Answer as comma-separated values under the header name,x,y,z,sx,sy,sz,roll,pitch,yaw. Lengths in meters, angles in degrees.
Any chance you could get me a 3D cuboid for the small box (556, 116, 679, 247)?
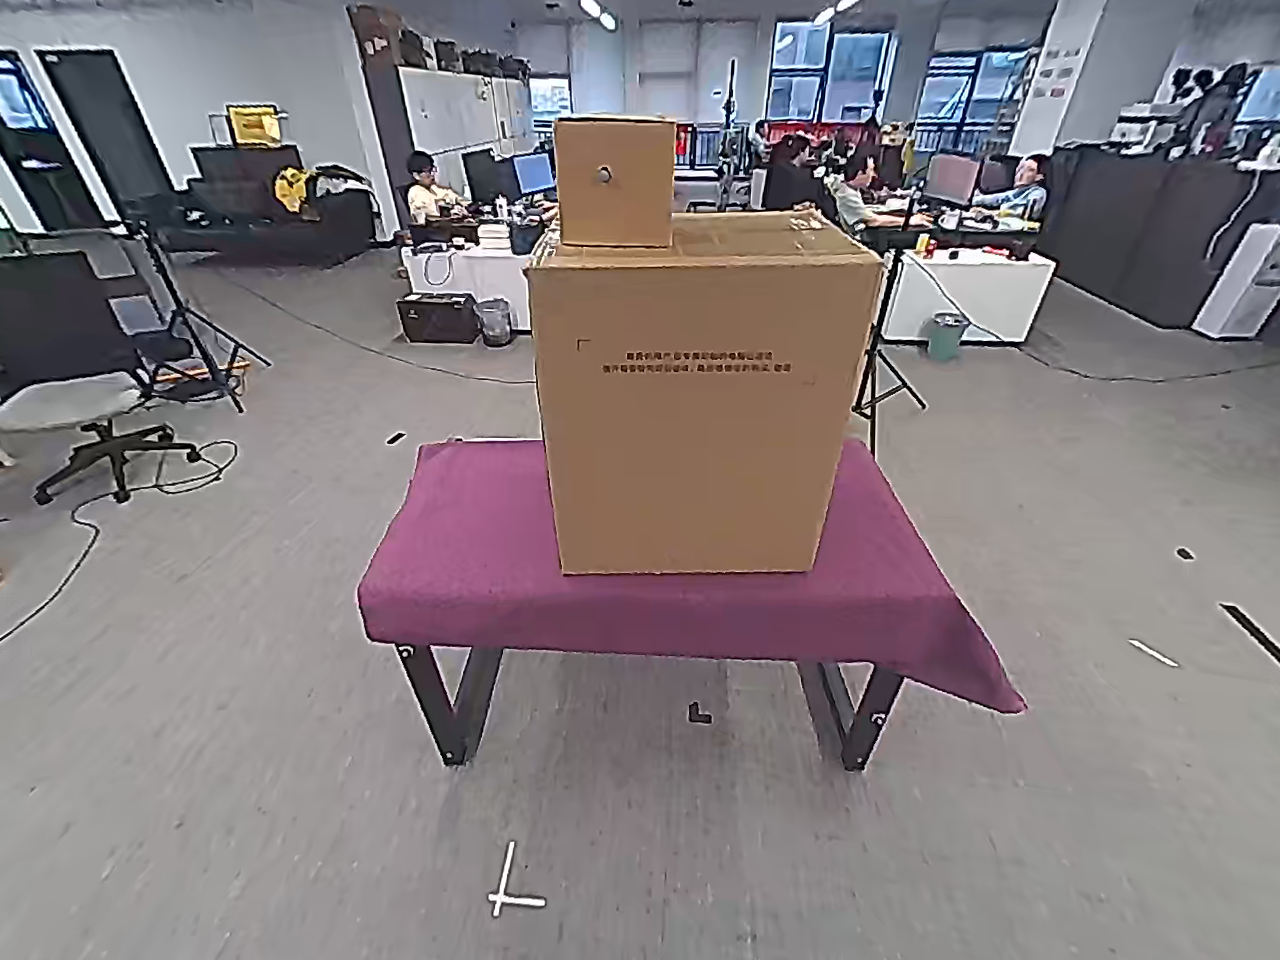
name,x,y,z,sx,sy,sz,roll,pitch,yaw
small box,-0.027,-0.477,0.864,0.179,0.176,0.168,1,36,2
